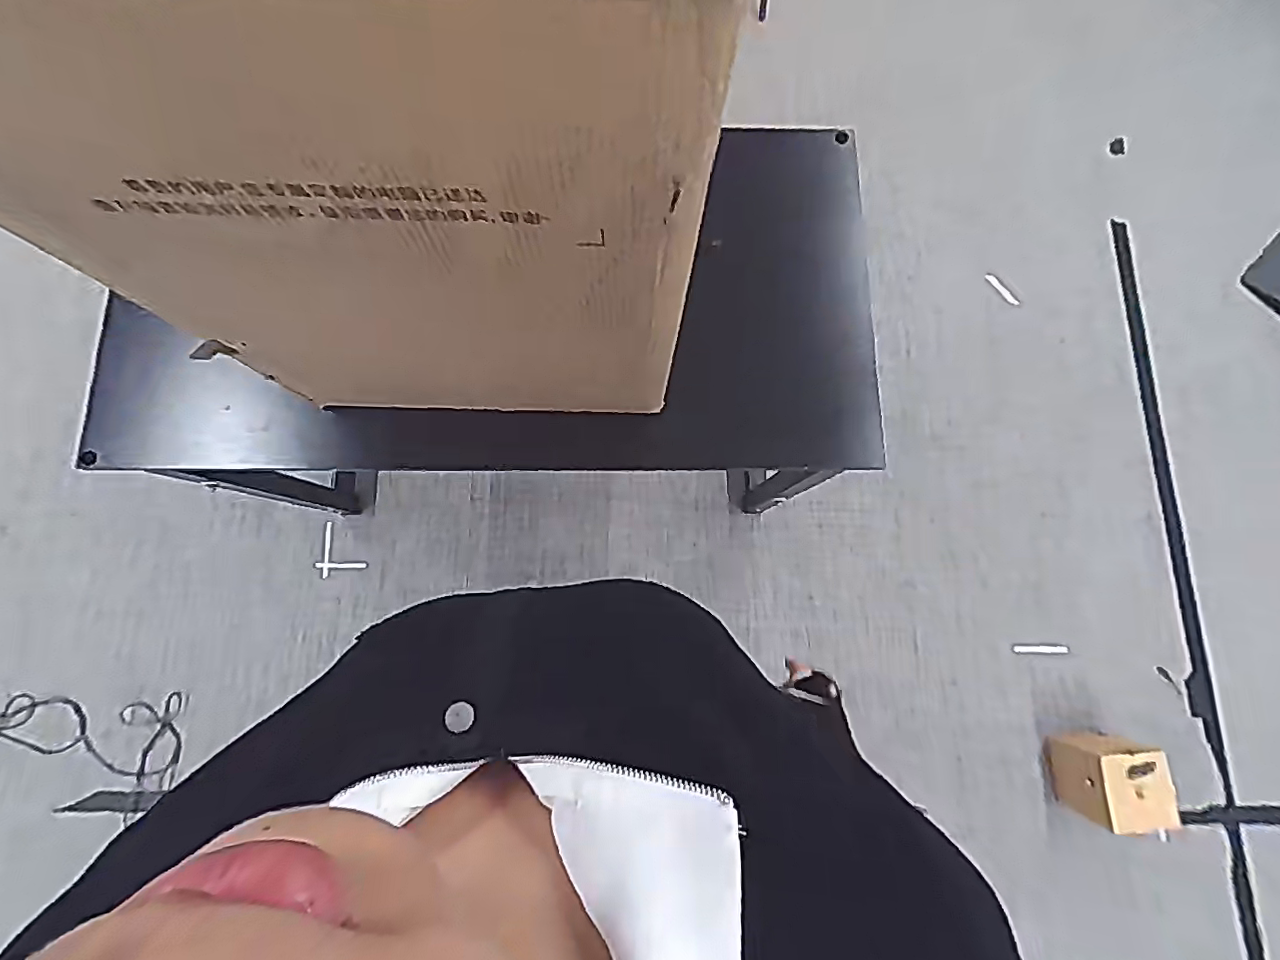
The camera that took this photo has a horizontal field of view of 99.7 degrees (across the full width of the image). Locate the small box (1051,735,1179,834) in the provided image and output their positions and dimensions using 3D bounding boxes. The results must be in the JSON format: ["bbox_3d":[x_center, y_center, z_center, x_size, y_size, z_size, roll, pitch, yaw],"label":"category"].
[{"bbox_3d":[1.185,0.756,1.365,0.168,0.176,0.179,-3,81,-2],"label":"small box"}]
